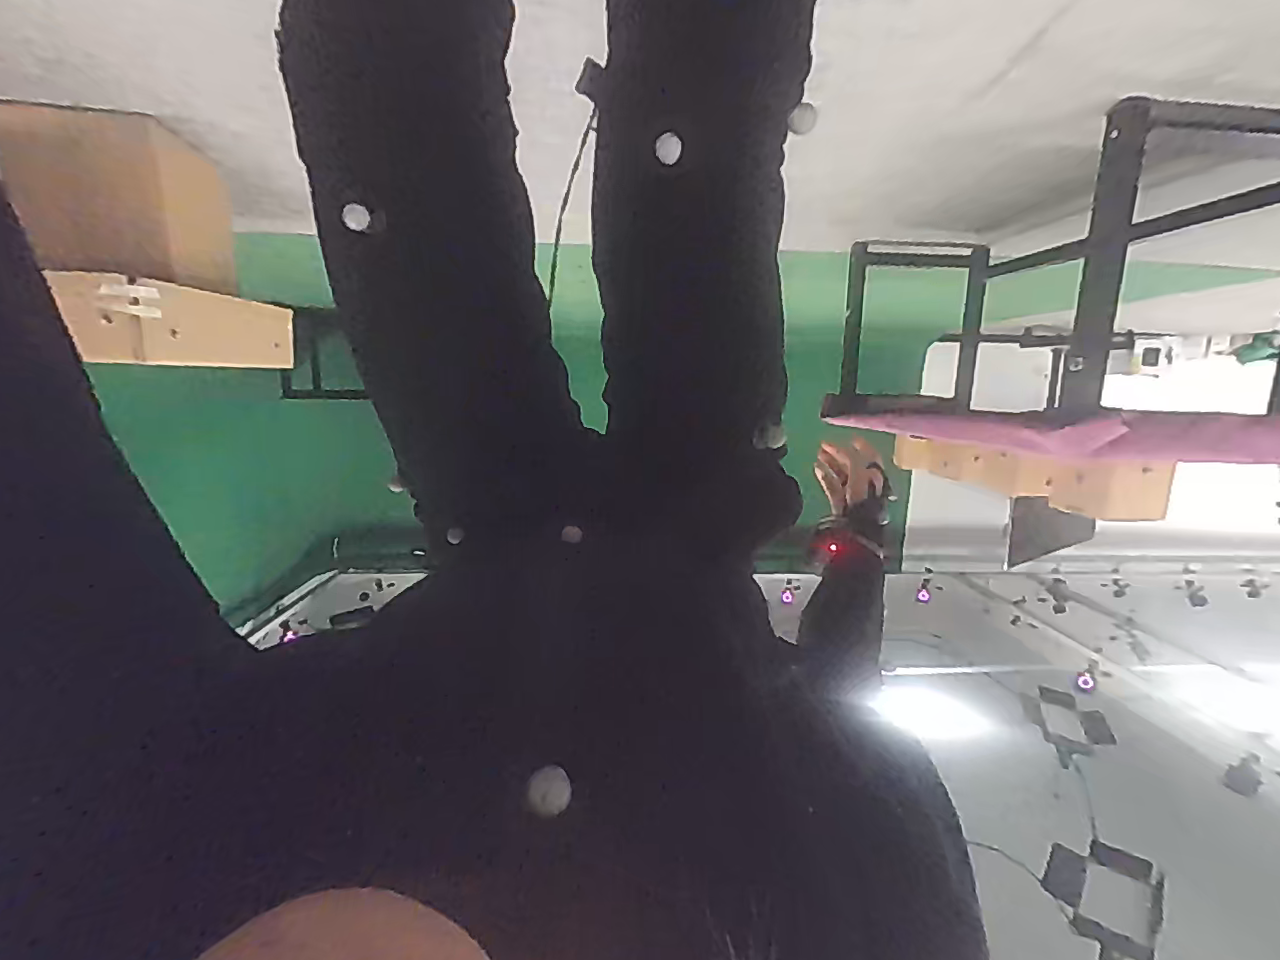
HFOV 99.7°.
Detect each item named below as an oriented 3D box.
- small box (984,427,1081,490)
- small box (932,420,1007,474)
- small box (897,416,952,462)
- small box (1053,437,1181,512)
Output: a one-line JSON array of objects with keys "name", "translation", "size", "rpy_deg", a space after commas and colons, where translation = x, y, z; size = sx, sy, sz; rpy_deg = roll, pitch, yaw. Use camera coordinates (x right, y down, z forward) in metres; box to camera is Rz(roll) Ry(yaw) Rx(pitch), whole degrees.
[{"name": "small box", "translation": [1.197, -0.070, 1.651], "size": [0.179, 0.176, 0.168], "rpy_deg": [1, -170, -1]}, {"name": "small box", "translation": [1.165, -0.120, 1.904], "size": [0.168, 0.176, 0.179], "rpy_deg": [0, -169, -8]}, {"name": "small box", "translation": [1.134, -0.167, 2.156], "size": [0.168, 0.176, 0.179], "rpy_deg": [3, -169, 16]}, {"name": "small box", "translation": [1.219, -0.020, 1.389], "size": [0.179, 0.176, 0.168], "rpy_deg": [0, -169, -6]}]
